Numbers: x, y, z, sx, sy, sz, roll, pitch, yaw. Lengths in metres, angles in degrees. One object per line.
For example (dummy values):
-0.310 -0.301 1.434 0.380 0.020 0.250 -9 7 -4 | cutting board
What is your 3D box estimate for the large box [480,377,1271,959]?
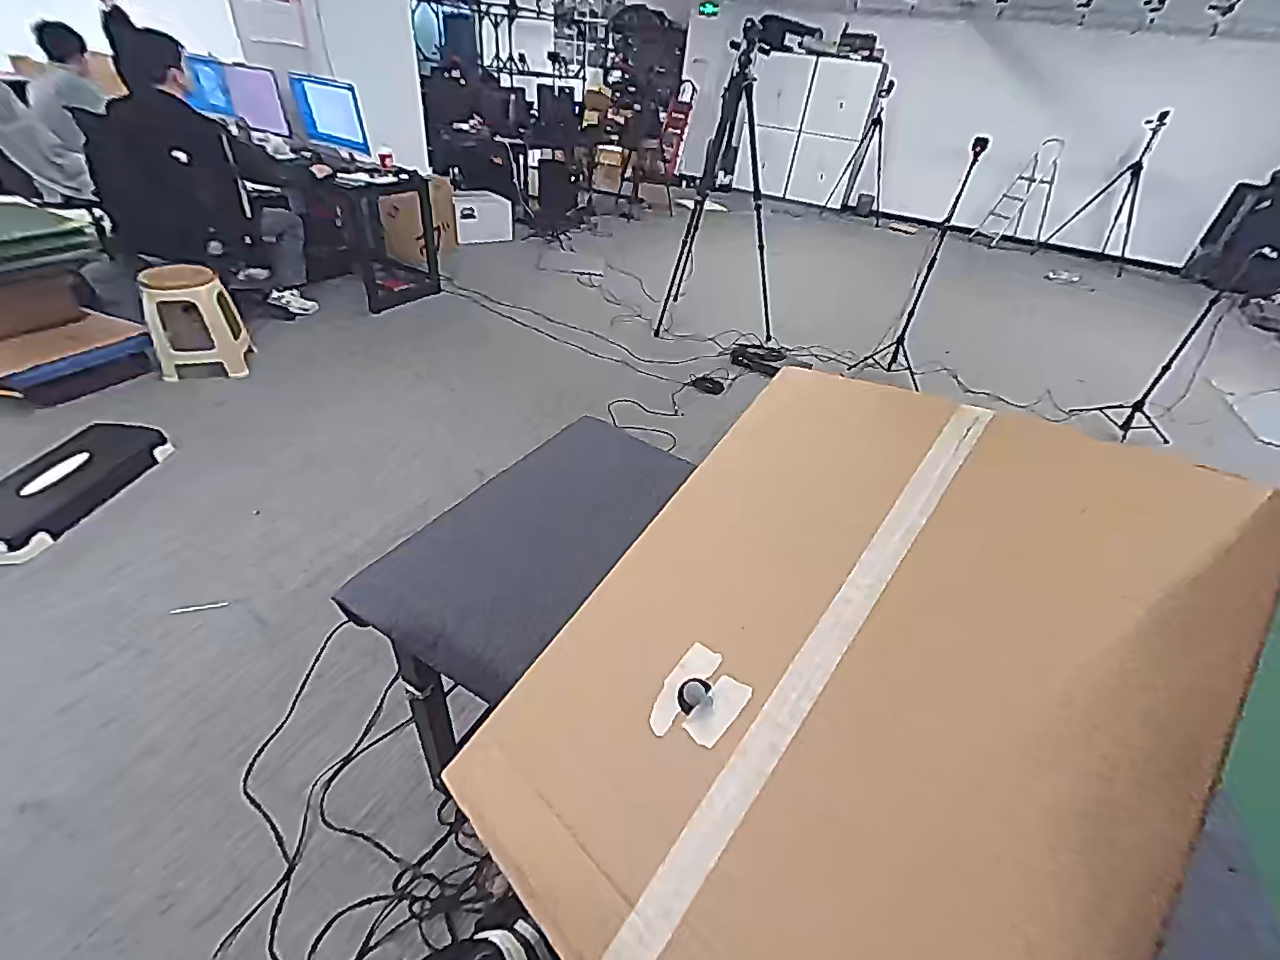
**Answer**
0.170 0.192 0.435 0.320 0.320 0.408 25 68 37 | large box
